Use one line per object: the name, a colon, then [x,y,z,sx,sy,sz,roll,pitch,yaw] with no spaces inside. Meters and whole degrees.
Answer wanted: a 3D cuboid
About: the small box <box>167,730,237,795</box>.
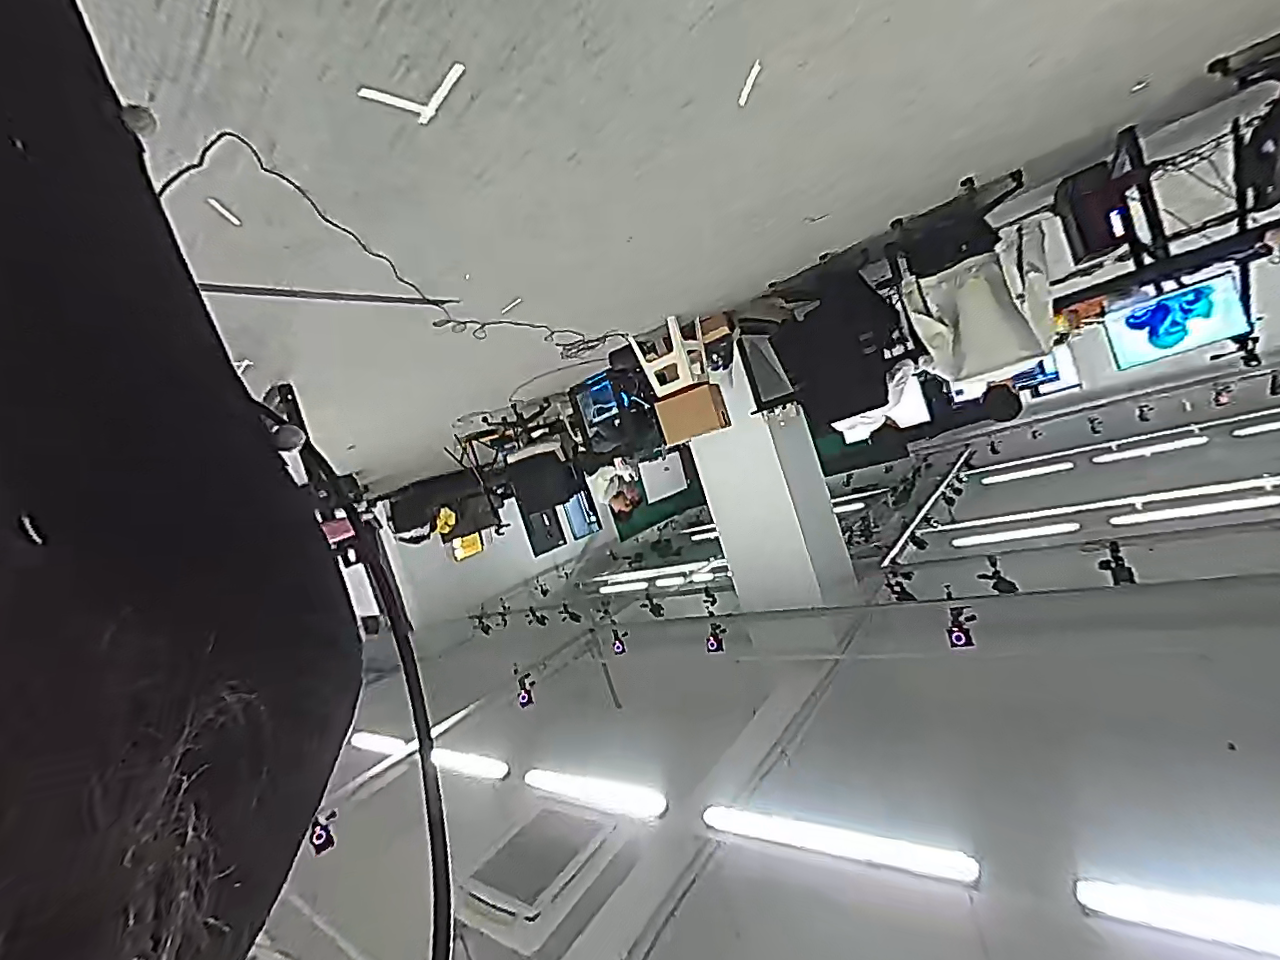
small box: [-1.744,1.114,2.149,0.179,0.176,0.168,-20,-179,41]
